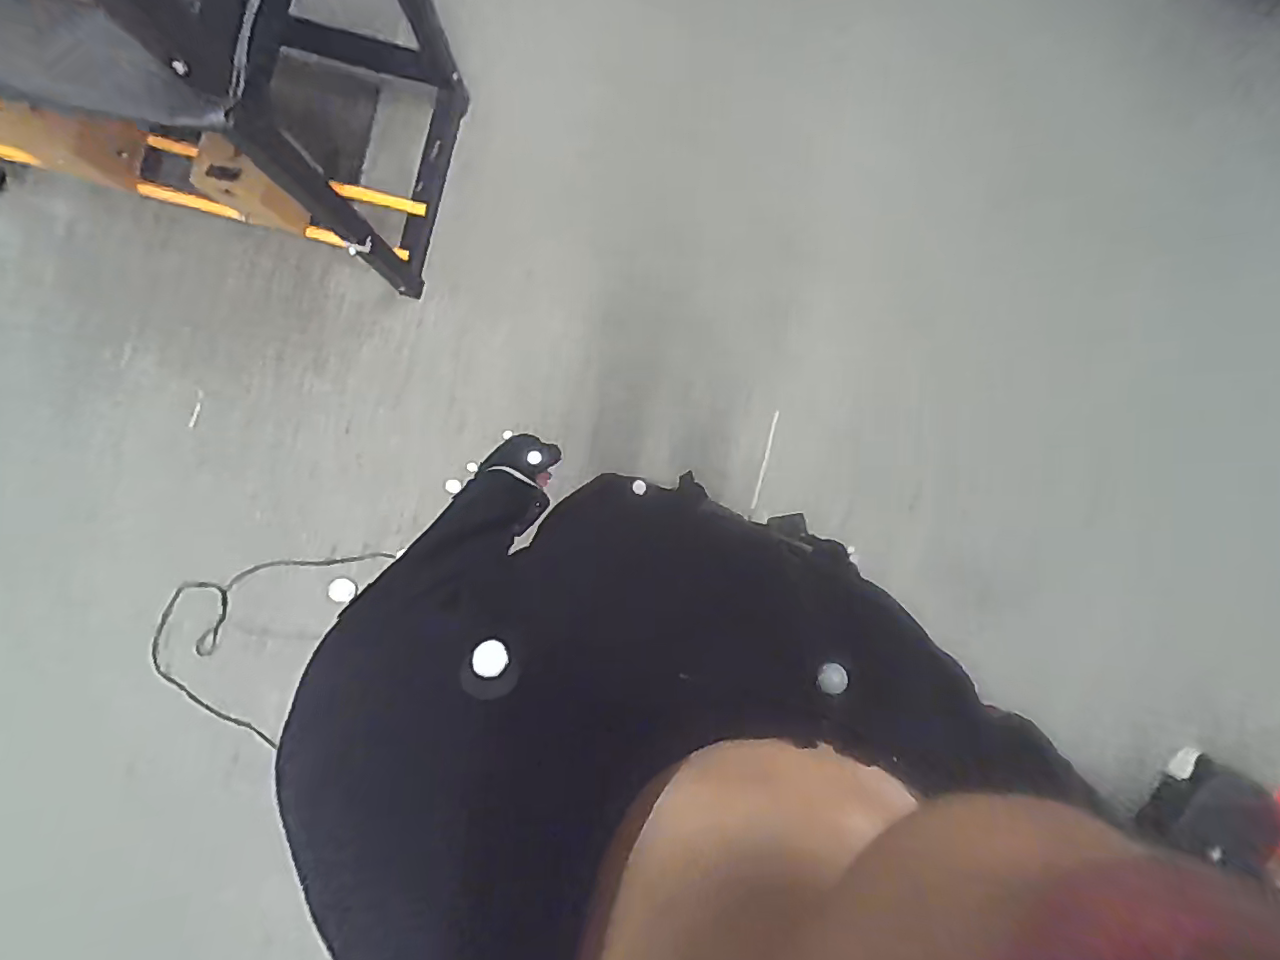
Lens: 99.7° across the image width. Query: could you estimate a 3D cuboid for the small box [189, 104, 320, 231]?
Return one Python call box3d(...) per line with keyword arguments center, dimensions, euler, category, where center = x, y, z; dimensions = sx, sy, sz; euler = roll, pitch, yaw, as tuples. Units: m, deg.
box3d(center=(-0.888, -0.718, 1.264), dimensions=(0.168, 0.176, 0.179), euler=(18, 89, -2), category="small box")
